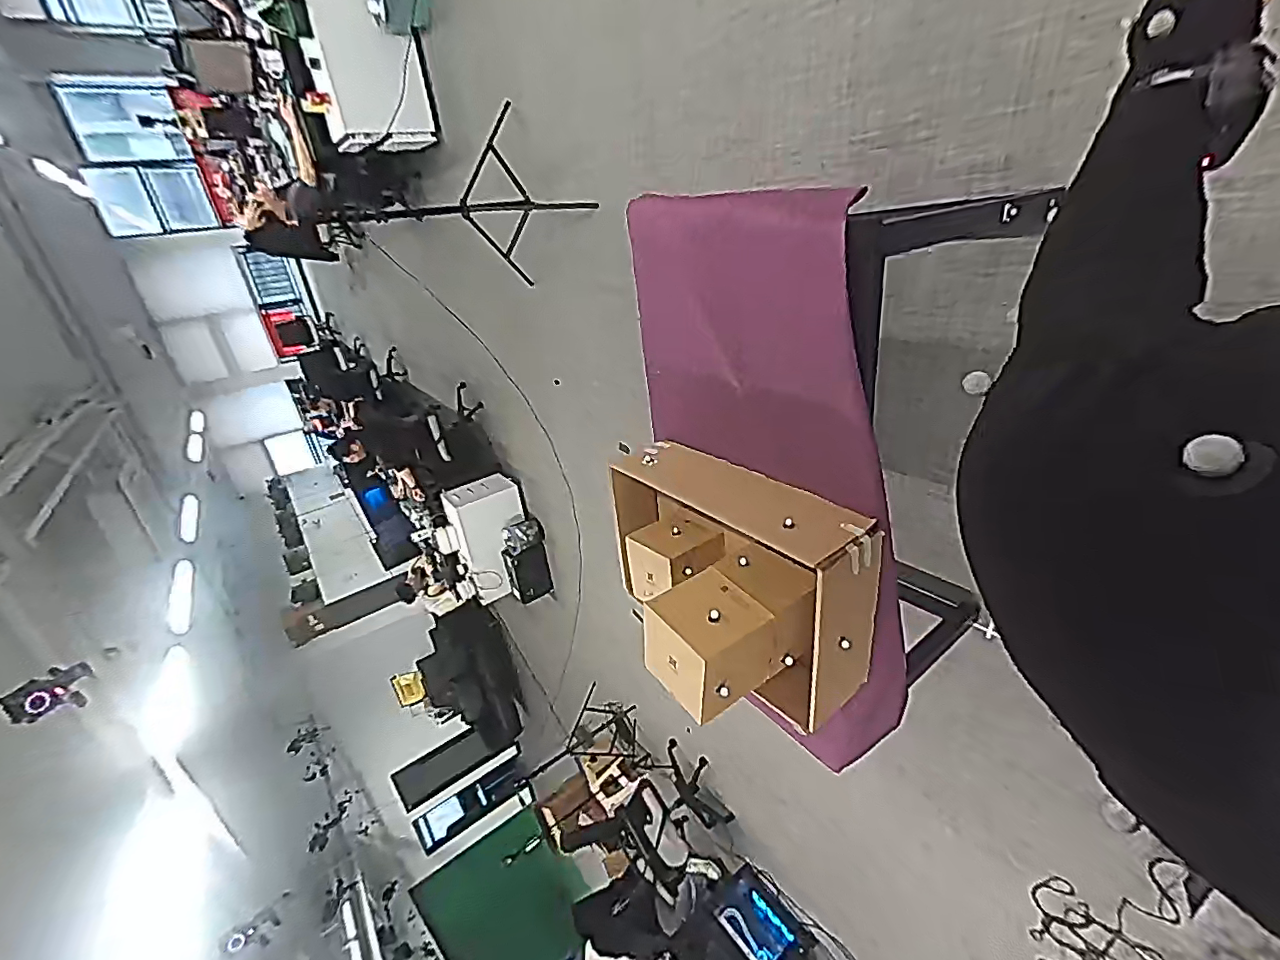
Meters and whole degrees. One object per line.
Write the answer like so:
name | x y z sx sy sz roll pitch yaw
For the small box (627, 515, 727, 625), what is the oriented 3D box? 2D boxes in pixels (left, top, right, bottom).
small box | 0.091 0.205 1.292 0.168 0.176 0.179 22 127 50
